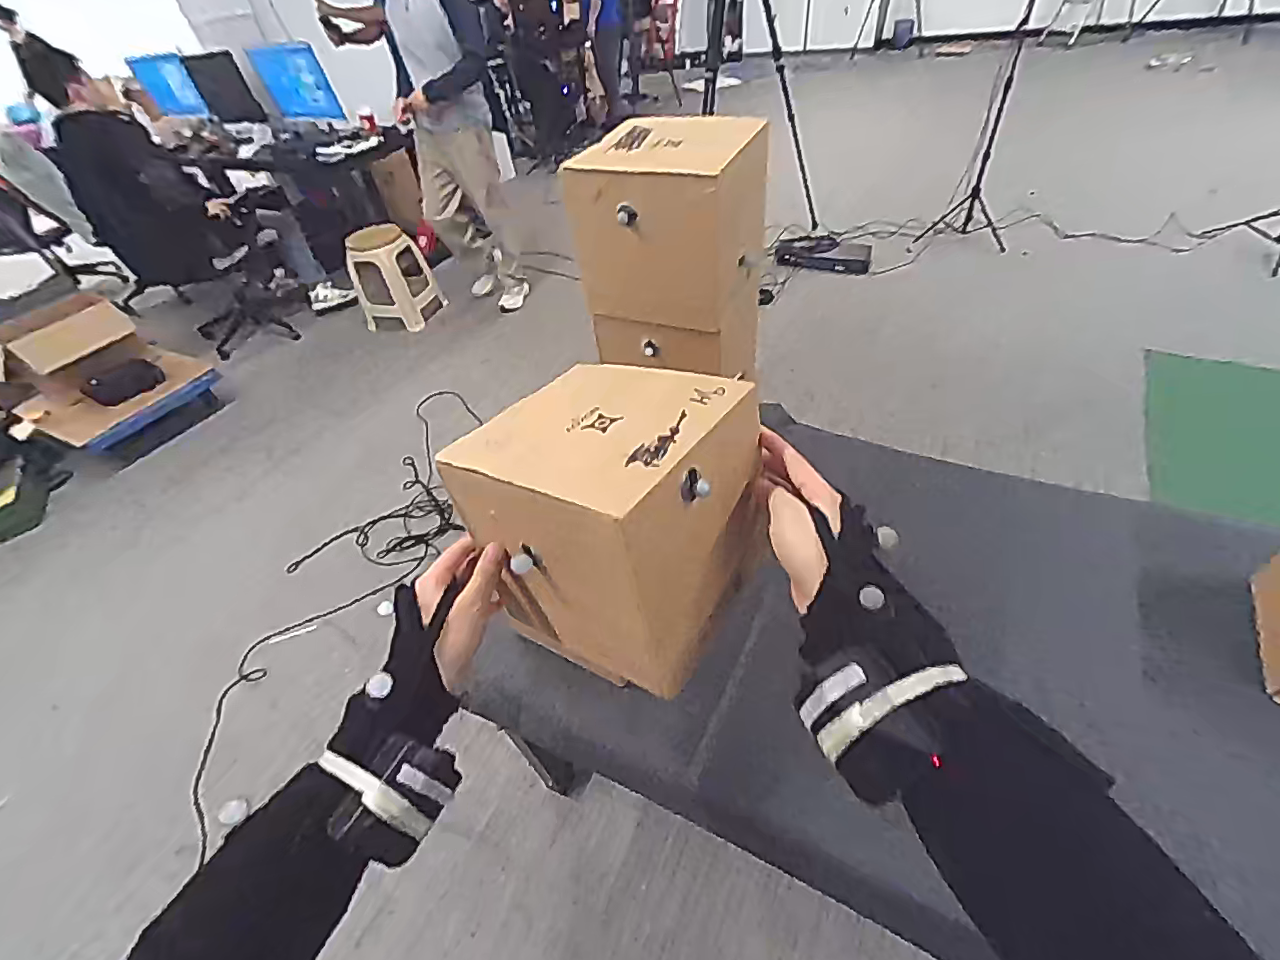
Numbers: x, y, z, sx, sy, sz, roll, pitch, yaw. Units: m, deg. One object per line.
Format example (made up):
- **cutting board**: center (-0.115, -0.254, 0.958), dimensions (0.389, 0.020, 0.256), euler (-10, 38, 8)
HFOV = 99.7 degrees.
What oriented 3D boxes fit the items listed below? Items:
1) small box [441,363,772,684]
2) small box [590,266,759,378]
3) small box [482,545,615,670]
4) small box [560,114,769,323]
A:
- **small box**: center (-0.013, 0.024, 0.422), dimensions (0.179, 0.176, 0.168), euler (14, 43, 35)
- **small box**: center (0.055, -0.197, 0.751), dimensions (0.179, 0.176, 0.168), euler (14, 52, 20)
- **small box**: center (-0.062, 0.114, 0.689), dimensions (0.179, 0.176, 0.168), euler (19, 49, 24)
- **small box**: center (0.036, -0.302, 0.625), dimensions (0.179, 0.176, 0.168), euler (16, 53, 21)
